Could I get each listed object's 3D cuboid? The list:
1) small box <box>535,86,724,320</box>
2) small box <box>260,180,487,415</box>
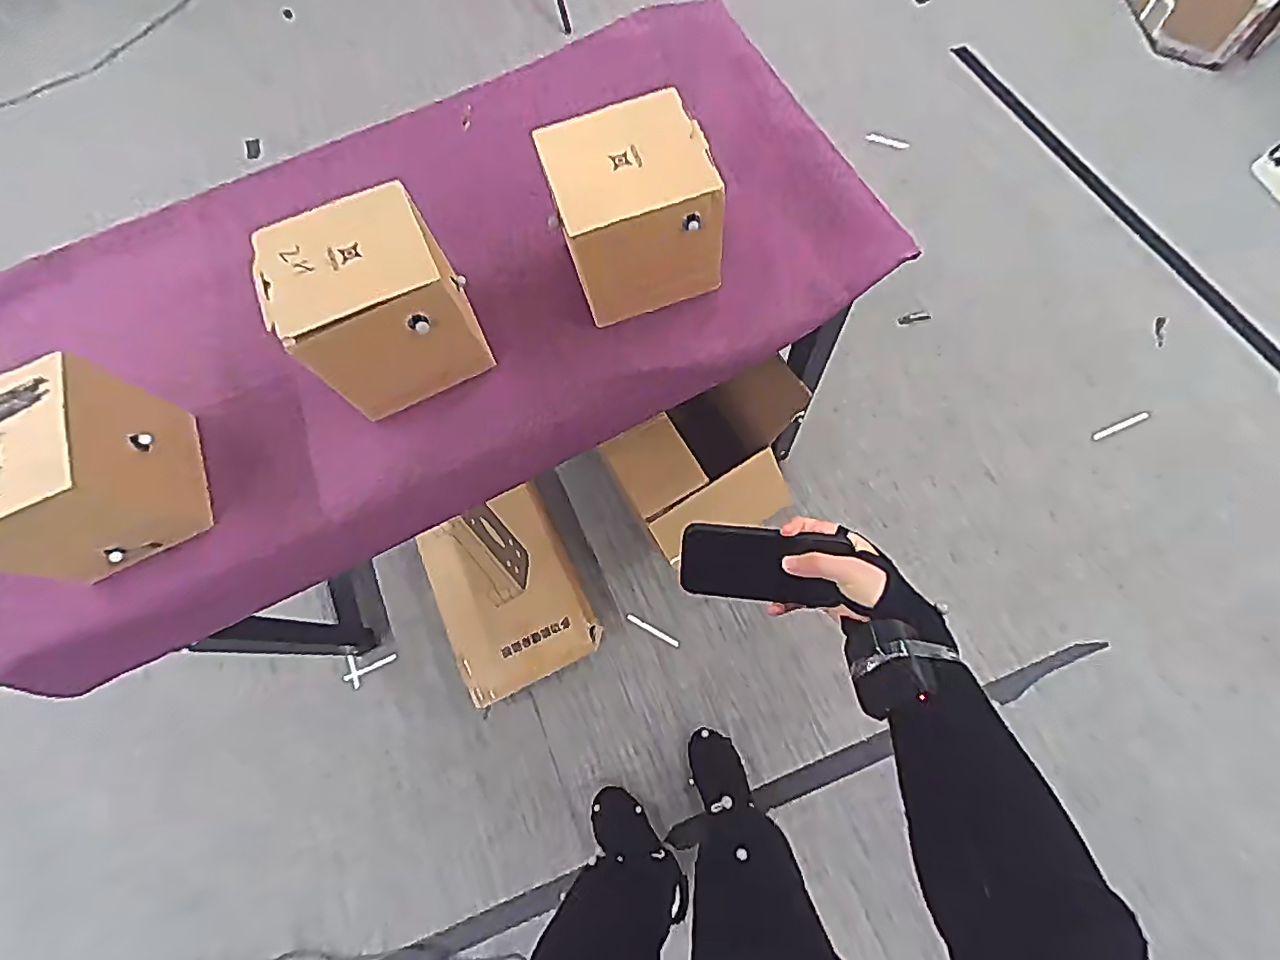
[{"bbox_3d":[-0.008,-0.327,0.667,0.179,0.176,0.168,-19,70,-2],"label":"small box"},{"bbox_3d":[-0.304,-0.209,0.653,0.179,0.176,0.168,-26,68,-4],"label":"small box"}]
